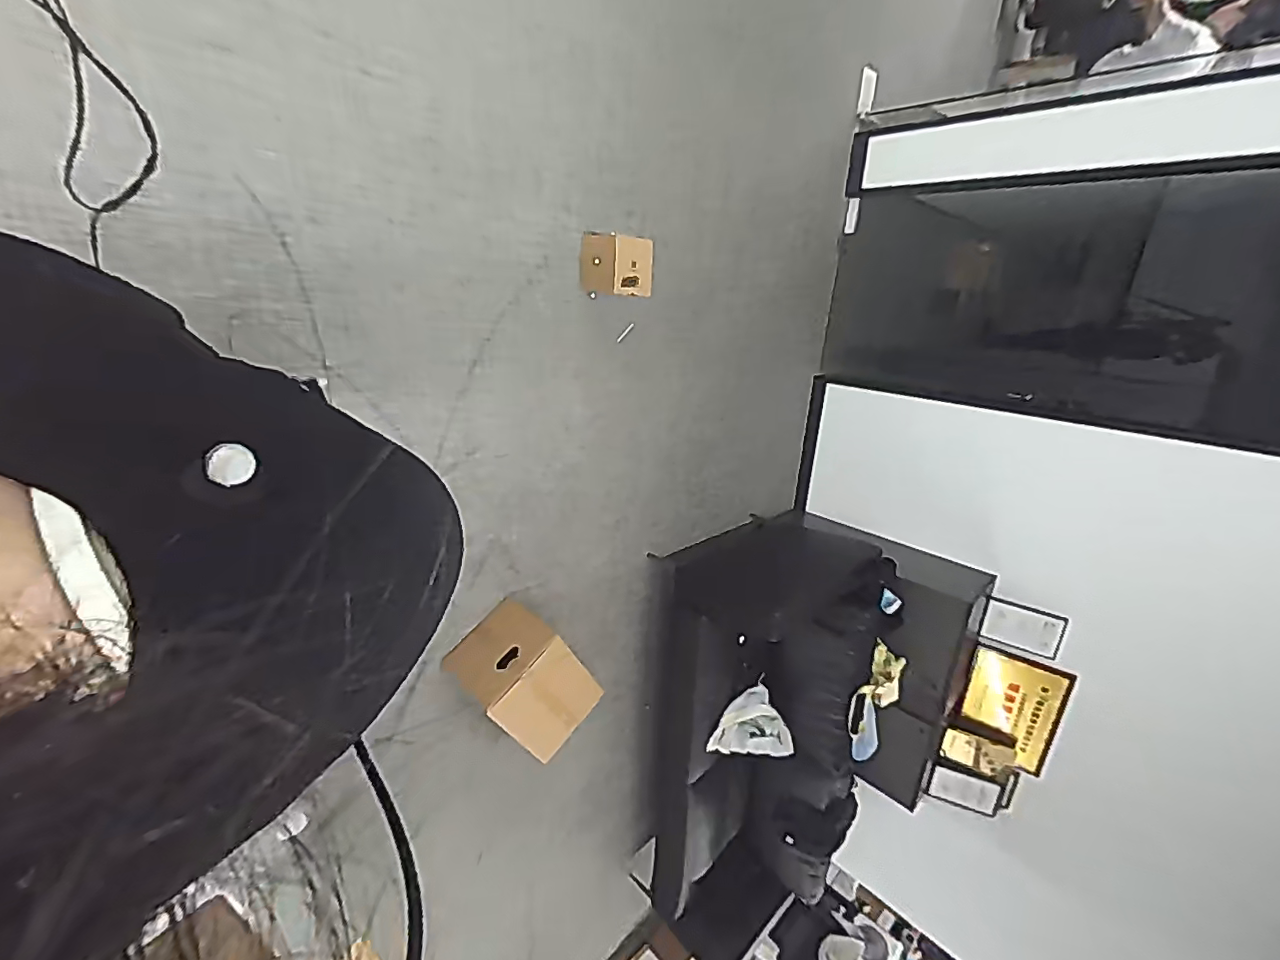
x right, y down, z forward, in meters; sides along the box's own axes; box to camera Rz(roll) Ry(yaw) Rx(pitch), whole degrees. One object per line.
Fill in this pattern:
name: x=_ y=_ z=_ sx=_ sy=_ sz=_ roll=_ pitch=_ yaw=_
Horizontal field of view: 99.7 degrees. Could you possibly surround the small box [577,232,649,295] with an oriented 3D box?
small box: x=-0.093 y=-0.711 z=1.780 sx=0.168 sy=0.176 sz=0.179 roll=-14 pitch=116 yaw=-43
